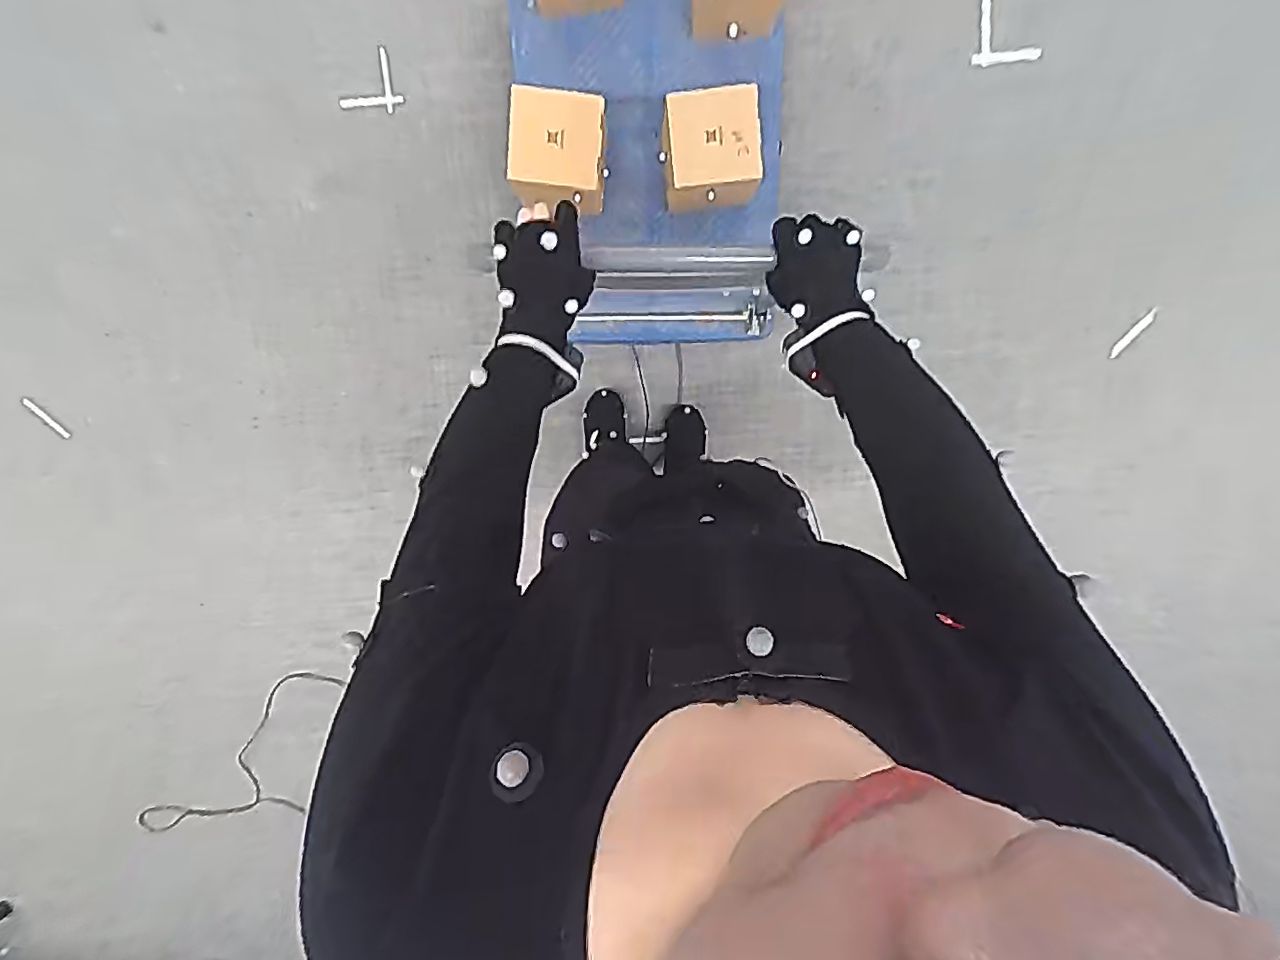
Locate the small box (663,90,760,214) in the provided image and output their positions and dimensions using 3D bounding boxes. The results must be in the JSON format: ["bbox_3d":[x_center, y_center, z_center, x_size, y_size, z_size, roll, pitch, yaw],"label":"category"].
[{"bbox_3d":[0.141,-0.667,1.119,0.179,0.176,0.168,-6,101,0],"label":"small box"}]

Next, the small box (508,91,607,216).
[{"bbox_3d":[-0.164,-0.661,1.114,0.179,0.176,0.168,5,100,-4],"label":"small box"}]

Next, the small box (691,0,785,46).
[{"bbox_3d":[0.189,-0.998,1.058,0.168,0.176,0.179,-4,102,0],"label":"small box"}]
